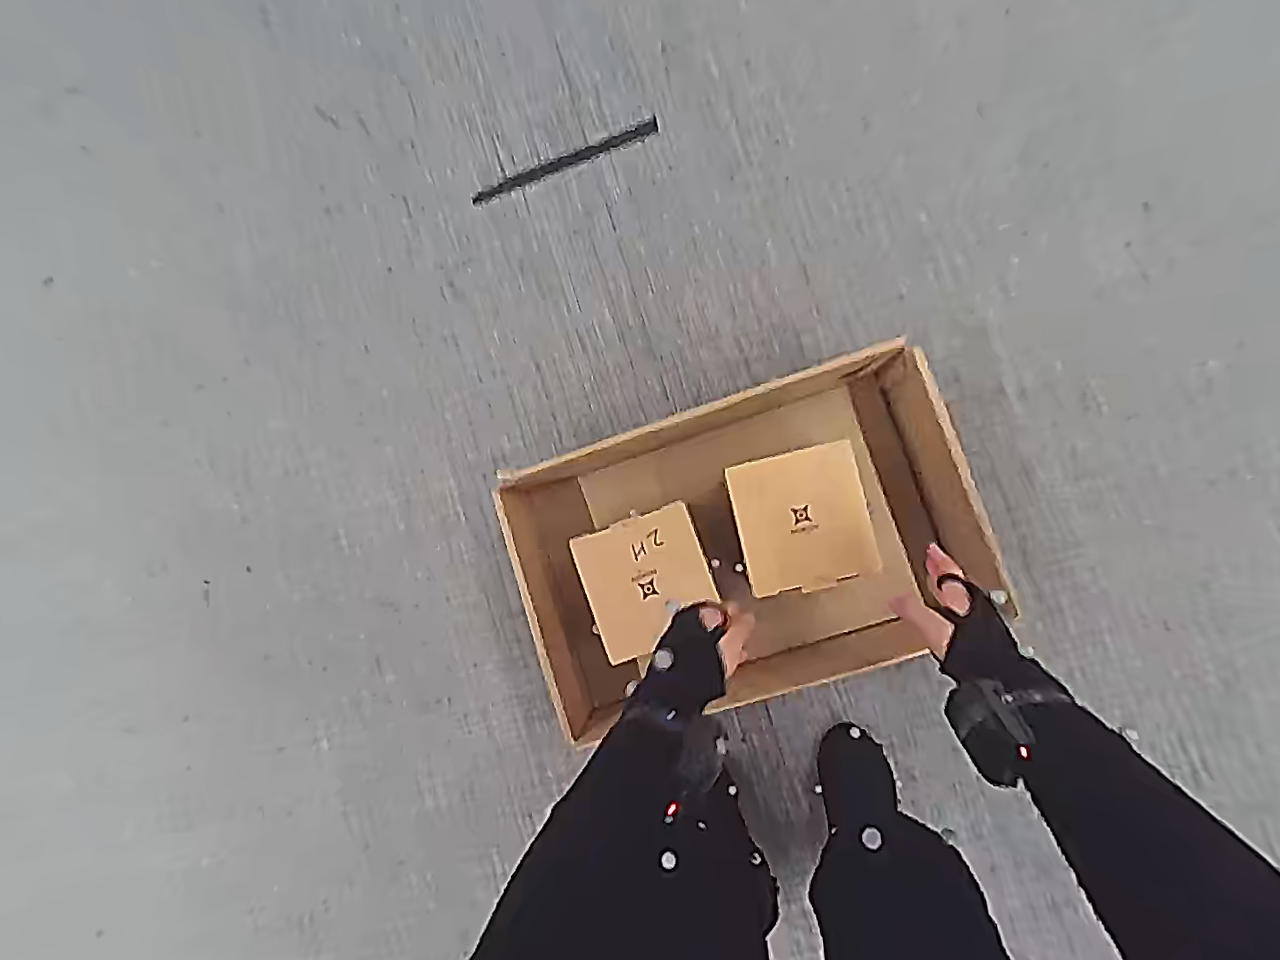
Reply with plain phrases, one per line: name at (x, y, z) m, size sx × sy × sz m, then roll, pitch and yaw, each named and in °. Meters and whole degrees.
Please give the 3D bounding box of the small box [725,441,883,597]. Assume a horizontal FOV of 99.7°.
small box at (0.219, 0.057, 0.773) m, size 0.168 × 0.176 × 0.179 m, roll -13°, pitch 85°, yaw 7°

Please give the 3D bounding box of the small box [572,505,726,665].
small box at (0.020, 0.143, 0.792) m, size 0.168 × 0.176 × 0.179 m, roll -20°, pitch 84°, yaw 4°
